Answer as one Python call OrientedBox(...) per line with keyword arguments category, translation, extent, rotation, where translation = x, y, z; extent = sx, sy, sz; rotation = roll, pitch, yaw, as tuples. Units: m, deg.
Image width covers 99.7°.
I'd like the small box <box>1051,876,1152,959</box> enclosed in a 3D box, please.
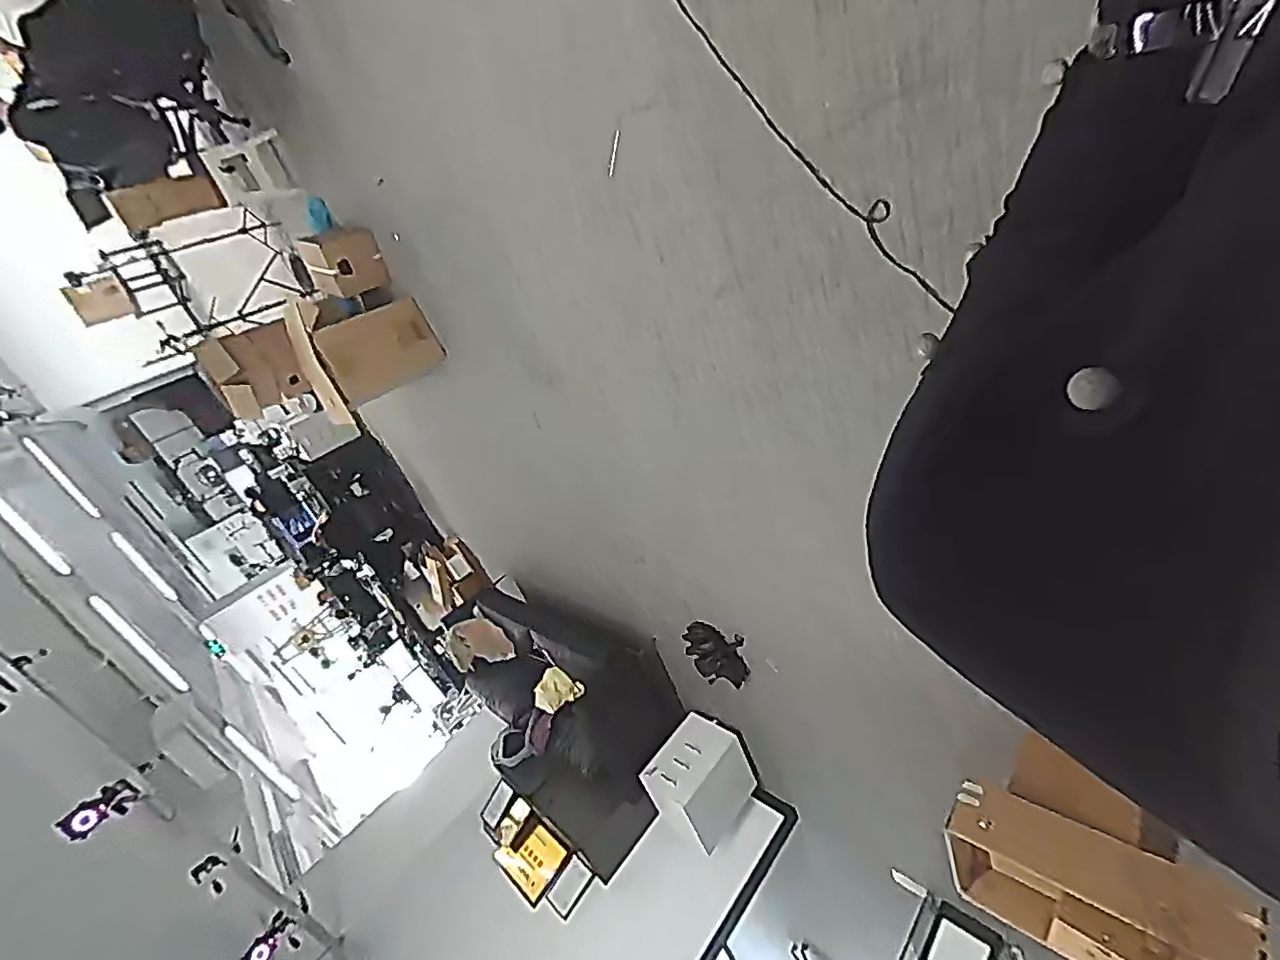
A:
OrientedBox(category="small box", translation=(1.202, 1.194, 1.410), extent=(0.168, 0.176, 0.179), rotation=(14, 134, 43))
